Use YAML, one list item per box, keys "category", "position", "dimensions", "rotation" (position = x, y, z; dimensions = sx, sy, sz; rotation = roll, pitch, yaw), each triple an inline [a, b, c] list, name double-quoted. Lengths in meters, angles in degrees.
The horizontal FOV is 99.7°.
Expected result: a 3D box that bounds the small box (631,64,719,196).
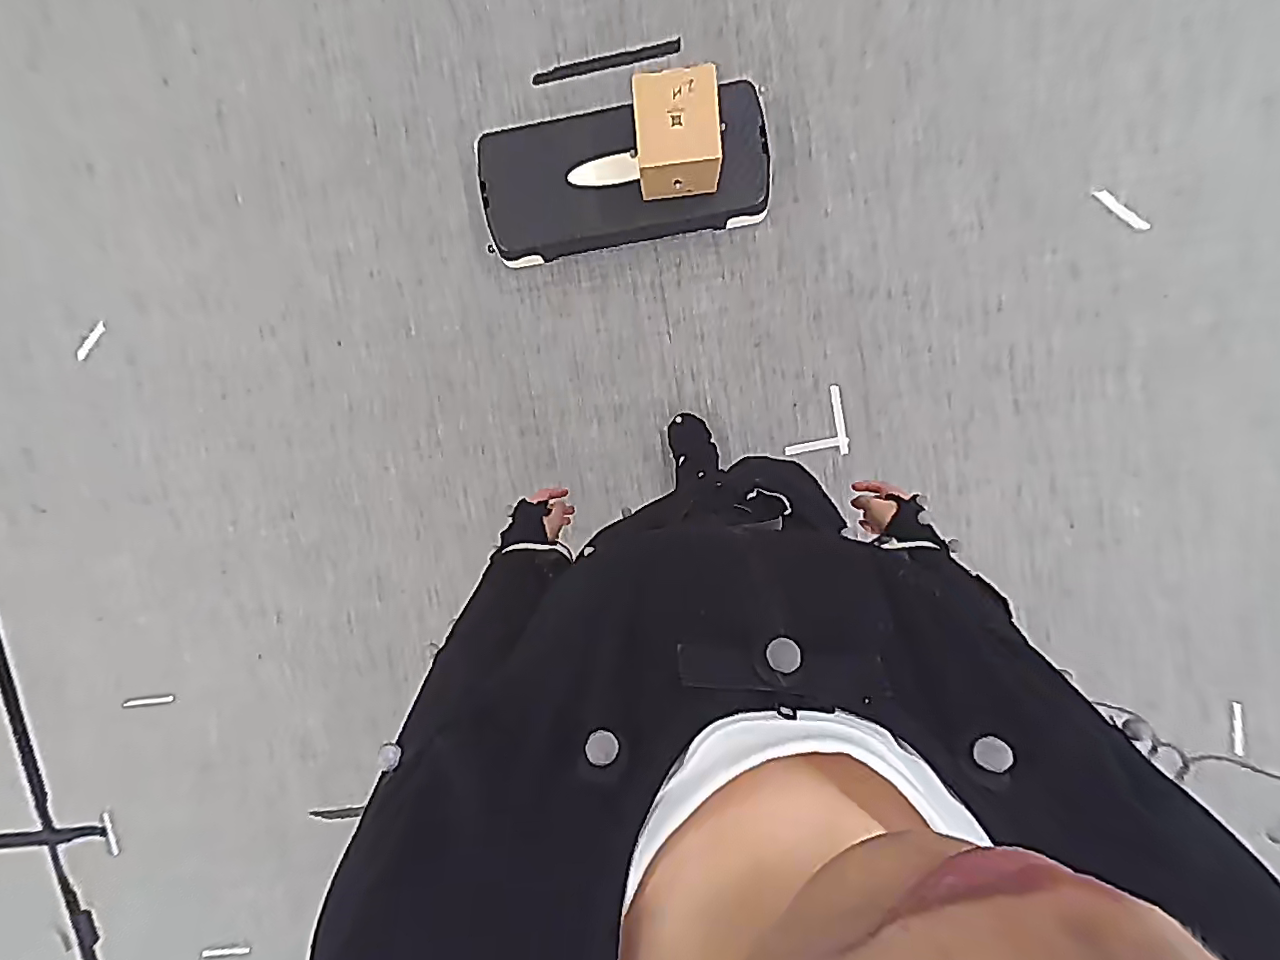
- category: "small box"
  position: [0.075, -0.715, 1.130]
  dimensions: [0.168, 0.176, 0.179]
  rotation: [-5, 96, 4]
